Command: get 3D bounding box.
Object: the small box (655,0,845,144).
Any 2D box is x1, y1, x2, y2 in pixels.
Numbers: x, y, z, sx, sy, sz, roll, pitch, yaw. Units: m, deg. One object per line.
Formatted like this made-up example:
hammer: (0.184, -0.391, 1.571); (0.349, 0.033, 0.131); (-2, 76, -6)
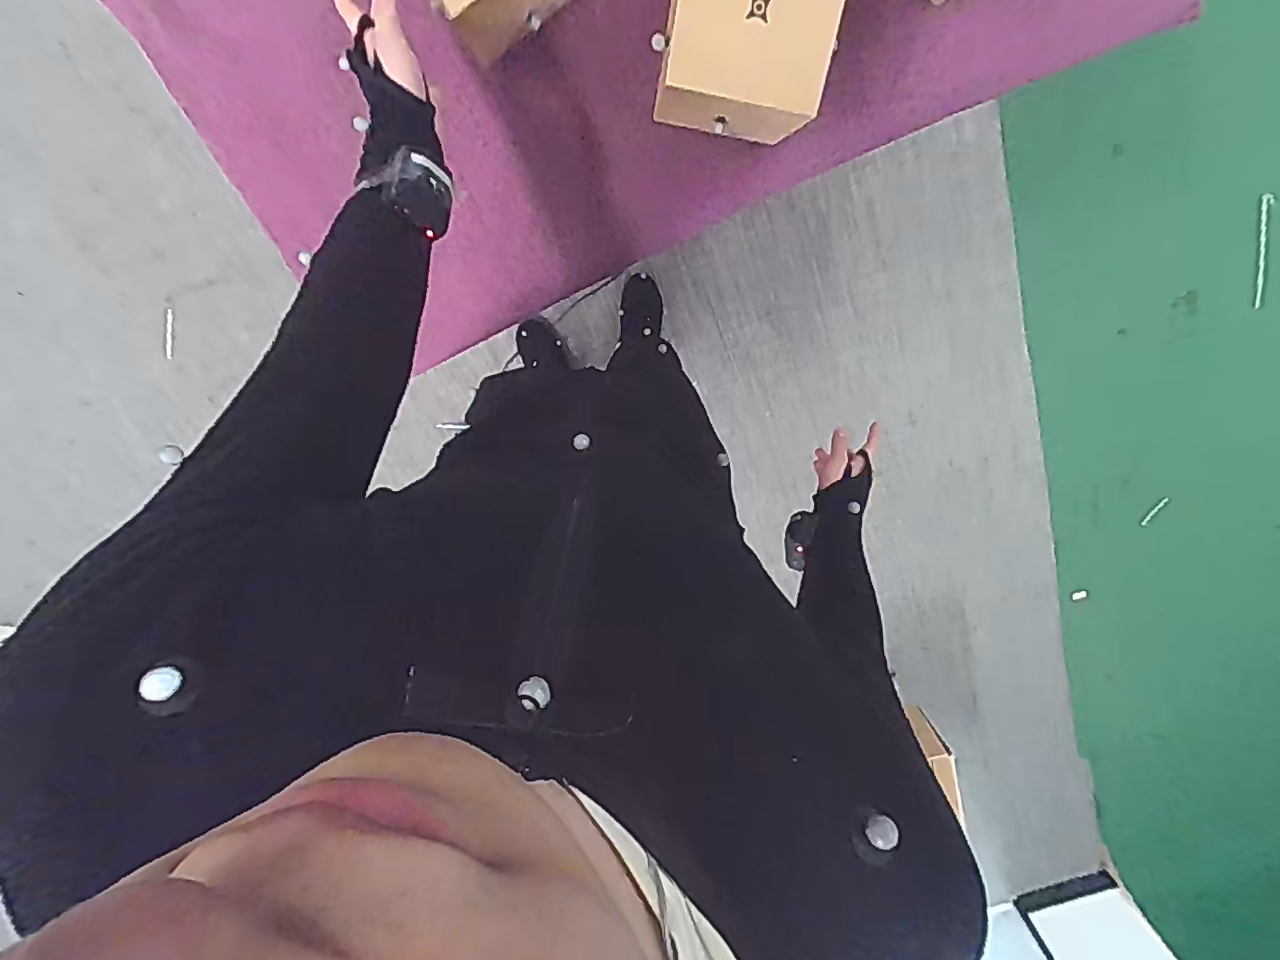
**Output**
small box: (0.113, -0.494, 0.600); (0.168, 0.176, 0.179); (7, 113, -7)
